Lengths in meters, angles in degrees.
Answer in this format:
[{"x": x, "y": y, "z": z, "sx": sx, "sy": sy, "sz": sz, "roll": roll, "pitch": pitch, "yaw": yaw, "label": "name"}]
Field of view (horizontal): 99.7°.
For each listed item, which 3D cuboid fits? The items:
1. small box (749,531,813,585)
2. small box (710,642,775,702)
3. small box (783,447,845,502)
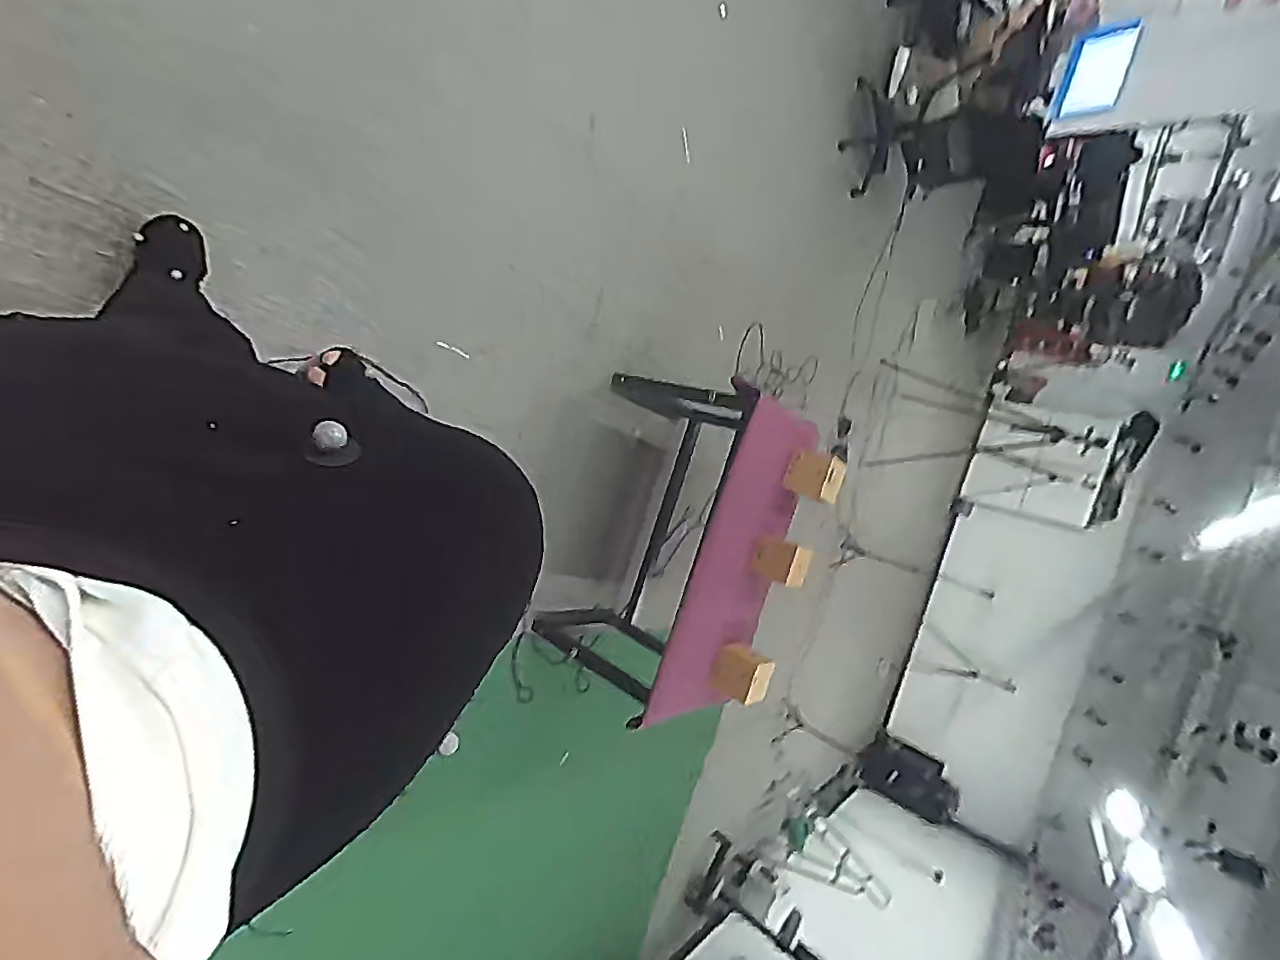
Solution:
[{"x": 0.563, "y": 0.314, "z": 2.170, "sx": 0.179, "sy": 0.176, "sz": 0.168, "roll": 18, "pitch": 90, "yaw": -52, "label": "small box"}, {"x": 0.409, "y": 0.760, "z": 2.164, "sx": 0.179, "sy": 0.176, "sz": 0.168, "roll": 16, "pitch": 91, "yaw": -52, "label": "small box"}, {"x": 0.703, "y": -0.026, "z": 2.192, "sx": 0.179, "sy": 0.176, "sz": 0.168, "roll": 21, "pitch": 89, "yaw": -51, "label": "small box"}]
